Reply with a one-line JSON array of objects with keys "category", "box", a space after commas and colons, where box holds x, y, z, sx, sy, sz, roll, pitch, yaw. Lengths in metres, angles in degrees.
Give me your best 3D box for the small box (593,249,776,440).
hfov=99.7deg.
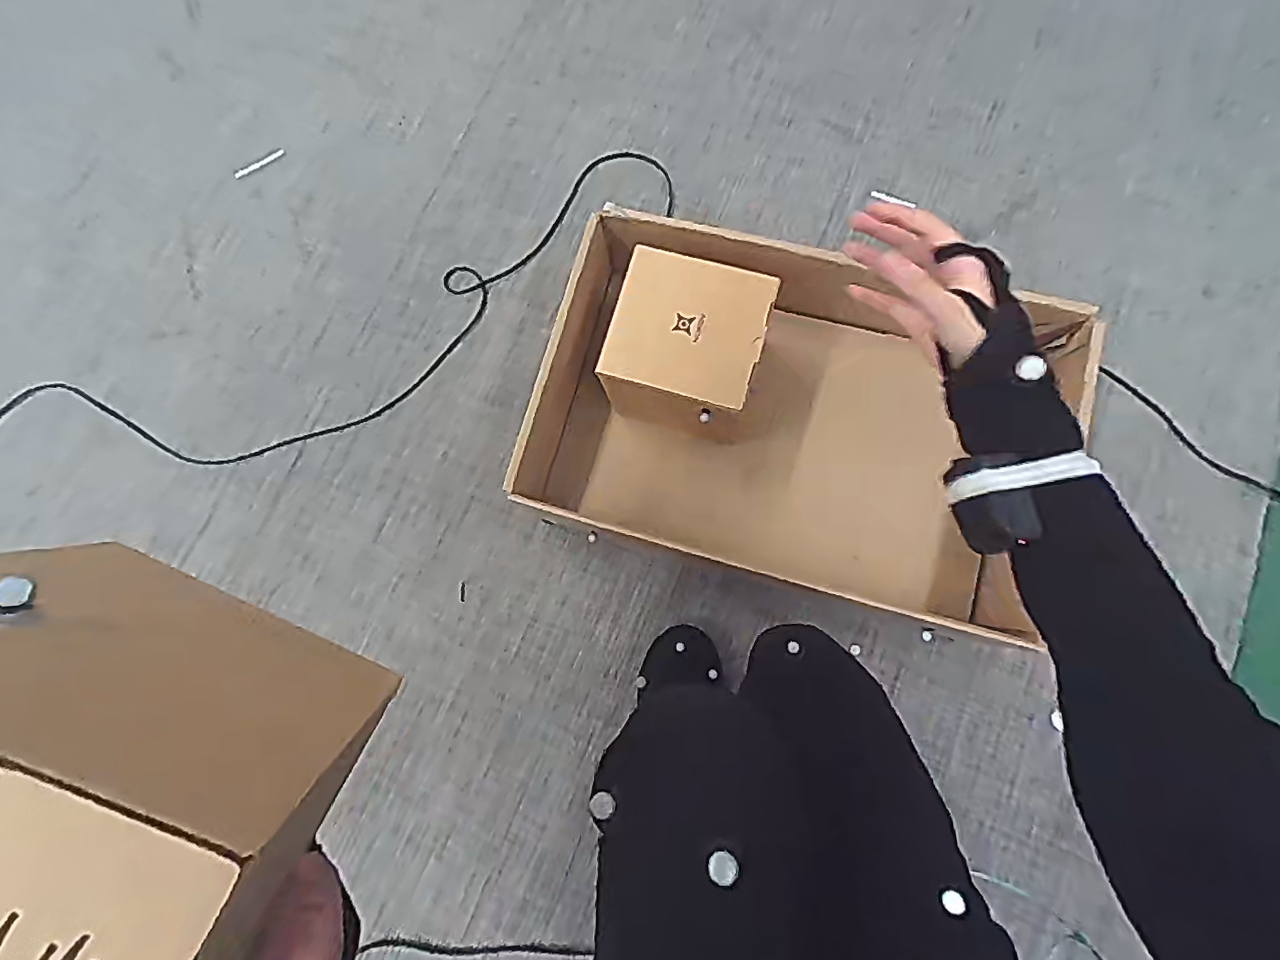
[{"category": "small box", "box": [0.056, -0.162, 0.696, 0.179, 0.176, 0.168, 16, 83, 6]}]
